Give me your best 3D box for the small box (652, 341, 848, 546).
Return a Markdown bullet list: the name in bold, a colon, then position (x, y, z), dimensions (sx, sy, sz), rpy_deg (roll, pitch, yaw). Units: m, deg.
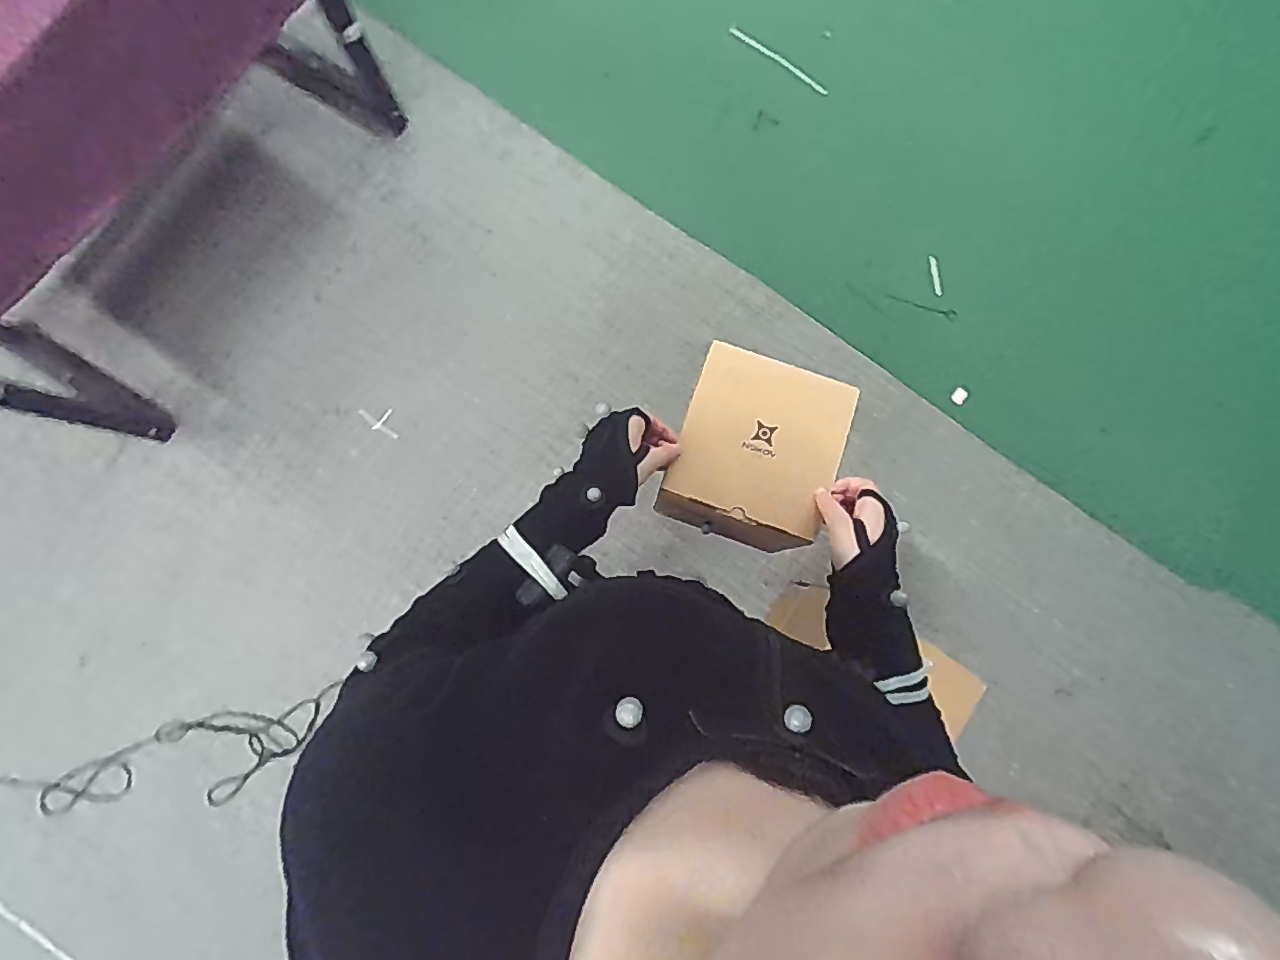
- **small box**: position (0.115, -0.030, 0.636), dimensions (0.168, 0.176, 0.179), rpy_deg (18, 81, 2)
